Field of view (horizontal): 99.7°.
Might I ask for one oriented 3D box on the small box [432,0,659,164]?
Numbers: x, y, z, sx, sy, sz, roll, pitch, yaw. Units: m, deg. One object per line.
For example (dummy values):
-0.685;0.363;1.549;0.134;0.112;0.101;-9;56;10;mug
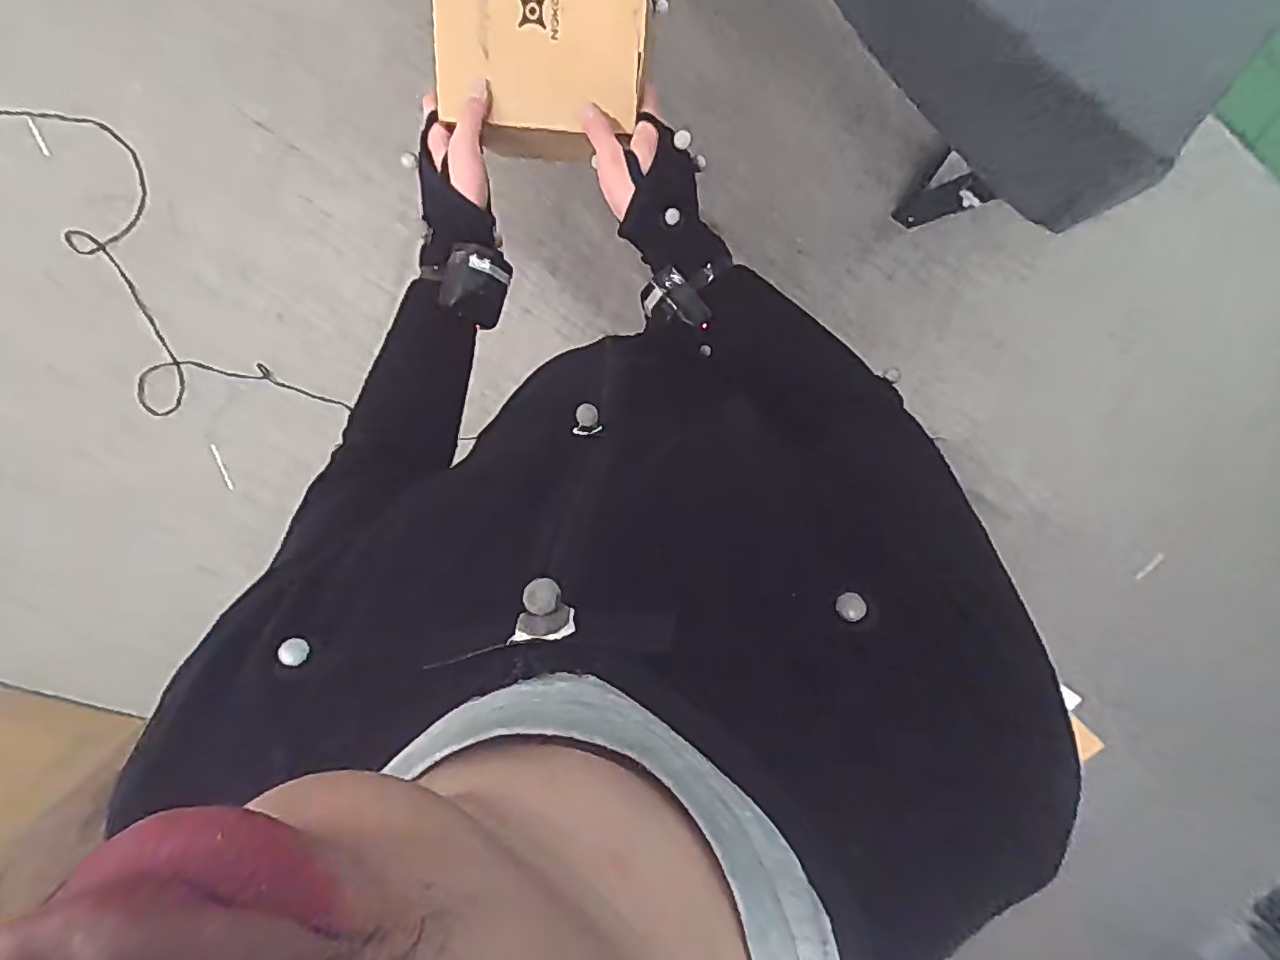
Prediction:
-0.075;-0.404;0.498;0.179;0.176;0.168;5;110;2;small box
